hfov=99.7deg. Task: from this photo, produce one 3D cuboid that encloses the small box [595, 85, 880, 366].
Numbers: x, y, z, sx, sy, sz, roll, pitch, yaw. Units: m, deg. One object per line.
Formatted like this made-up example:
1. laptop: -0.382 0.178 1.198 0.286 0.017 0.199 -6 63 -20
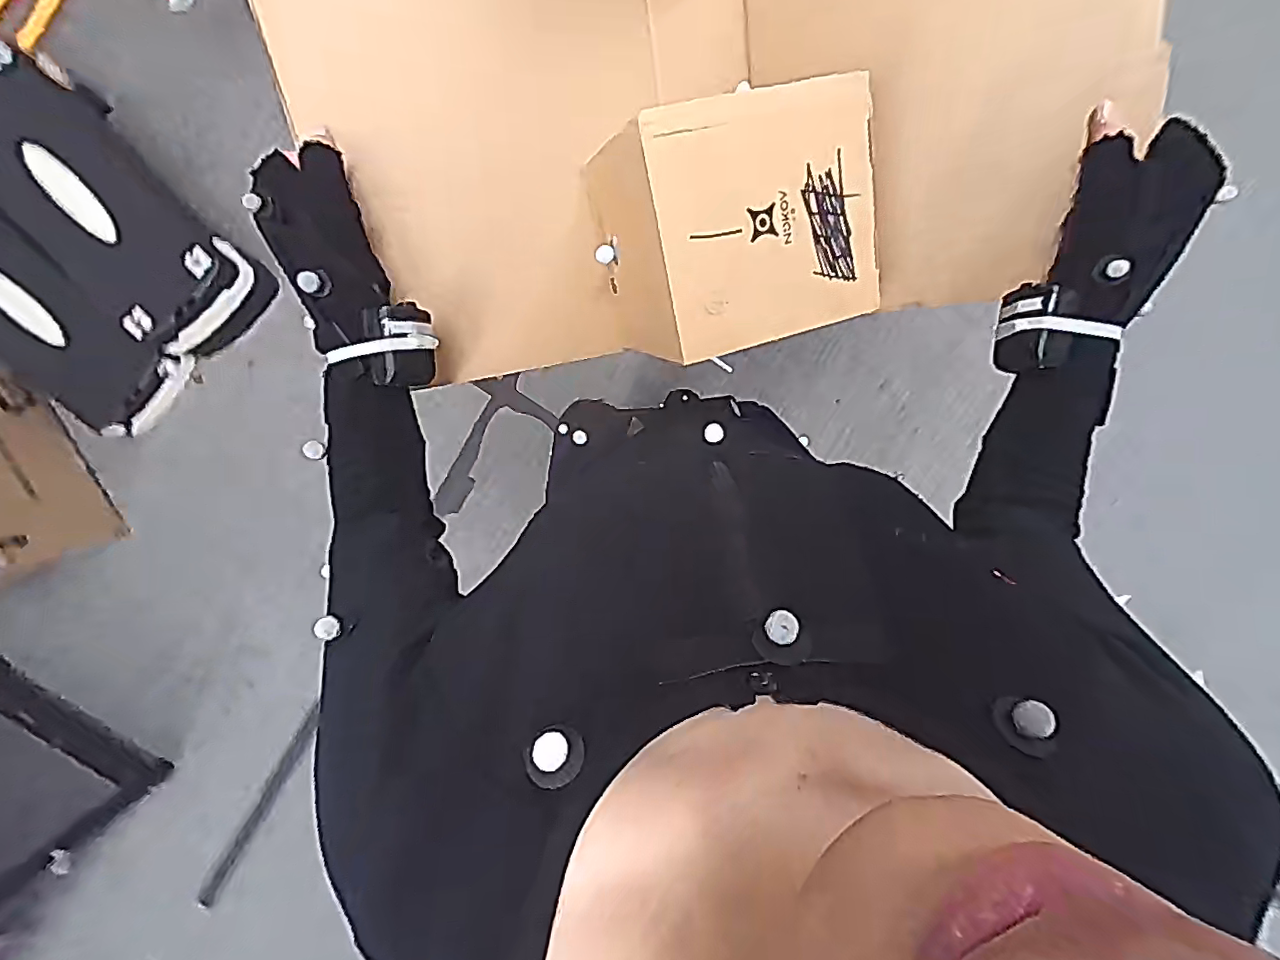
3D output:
1. small box: 0.076 -0.207 0.464 0.179 0.176 0.168 -17 112 -11
